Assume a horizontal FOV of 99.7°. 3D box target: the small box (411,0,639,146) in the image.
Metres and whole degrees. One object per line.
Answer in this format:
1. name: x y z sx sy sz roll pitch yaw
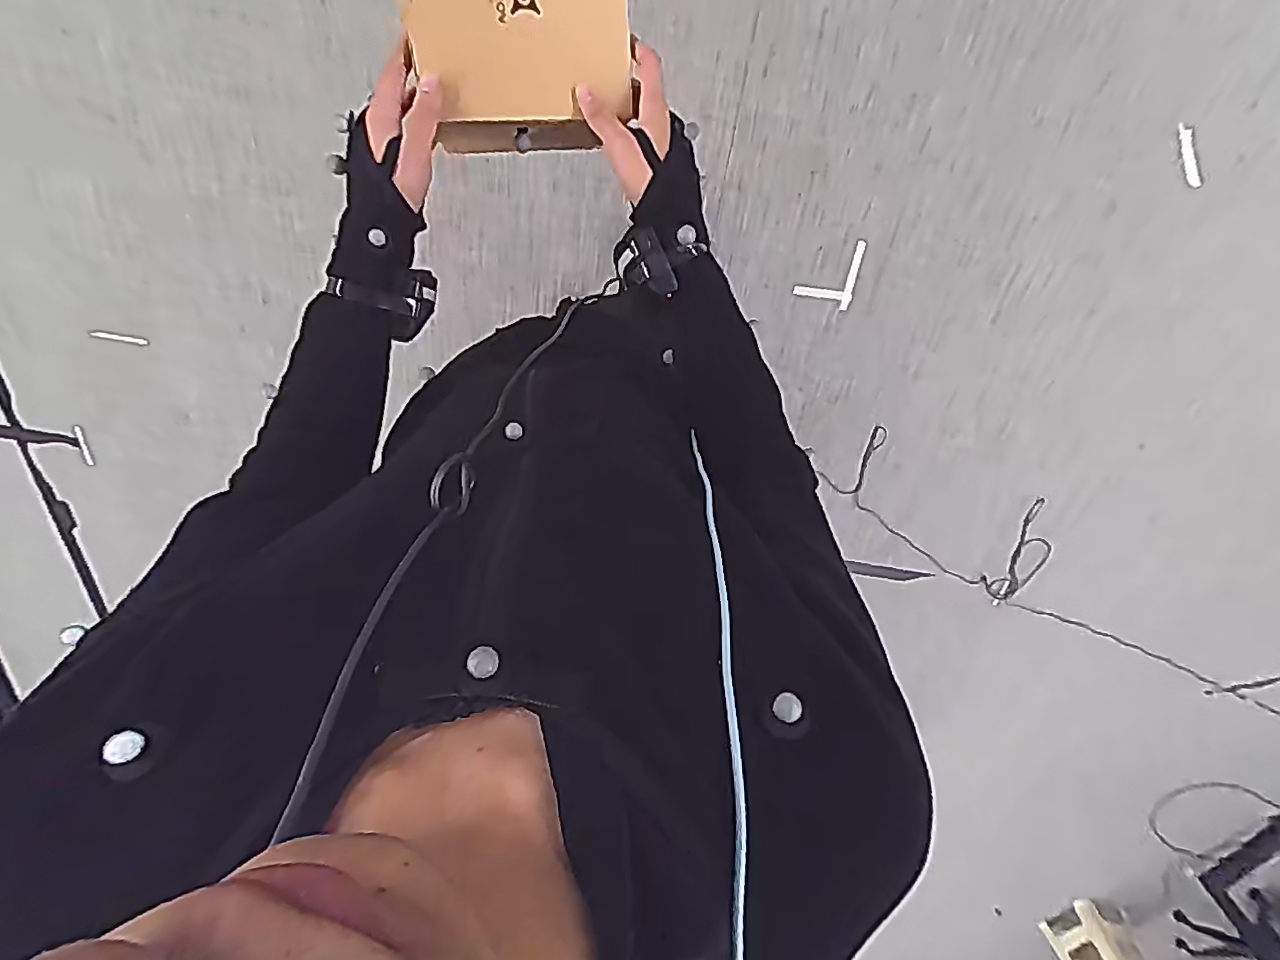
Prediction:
1. small box: -0.104 -0.409 0.488 0.179 0.176 0.168 -7 116 -9
